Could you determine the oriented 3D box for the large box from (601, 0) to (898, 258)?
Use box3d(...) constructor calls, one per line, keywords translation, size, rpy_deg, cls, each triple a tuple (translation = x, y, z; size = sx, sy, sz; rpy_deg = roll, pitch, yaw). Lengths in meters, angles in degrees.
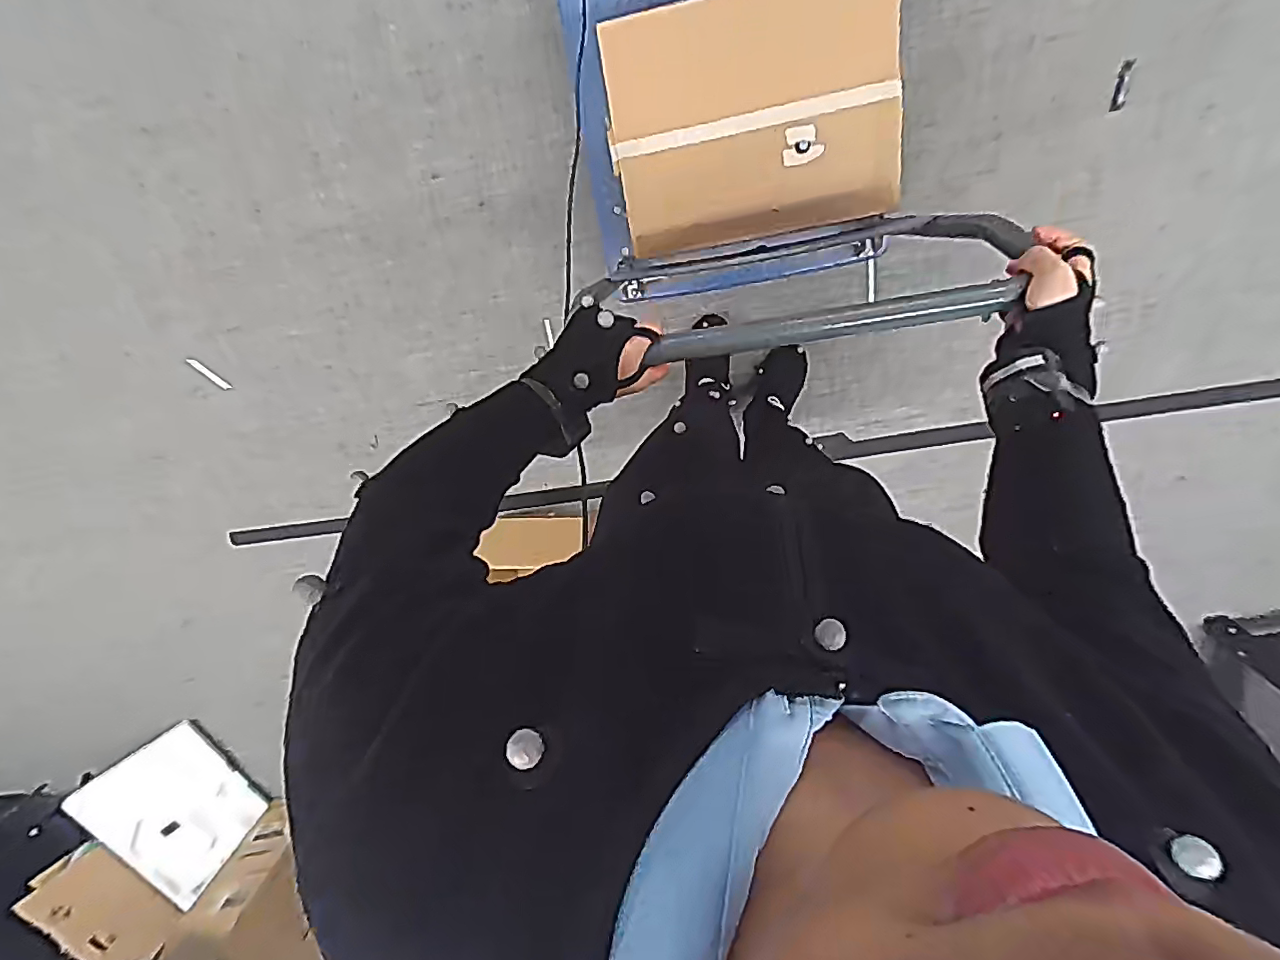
box3d(translation=(0.177, -0.583, 0.923), size=(0.408, 0.320, 0.320), rpy_deg=(-7, 113, 9), cls="large box")
